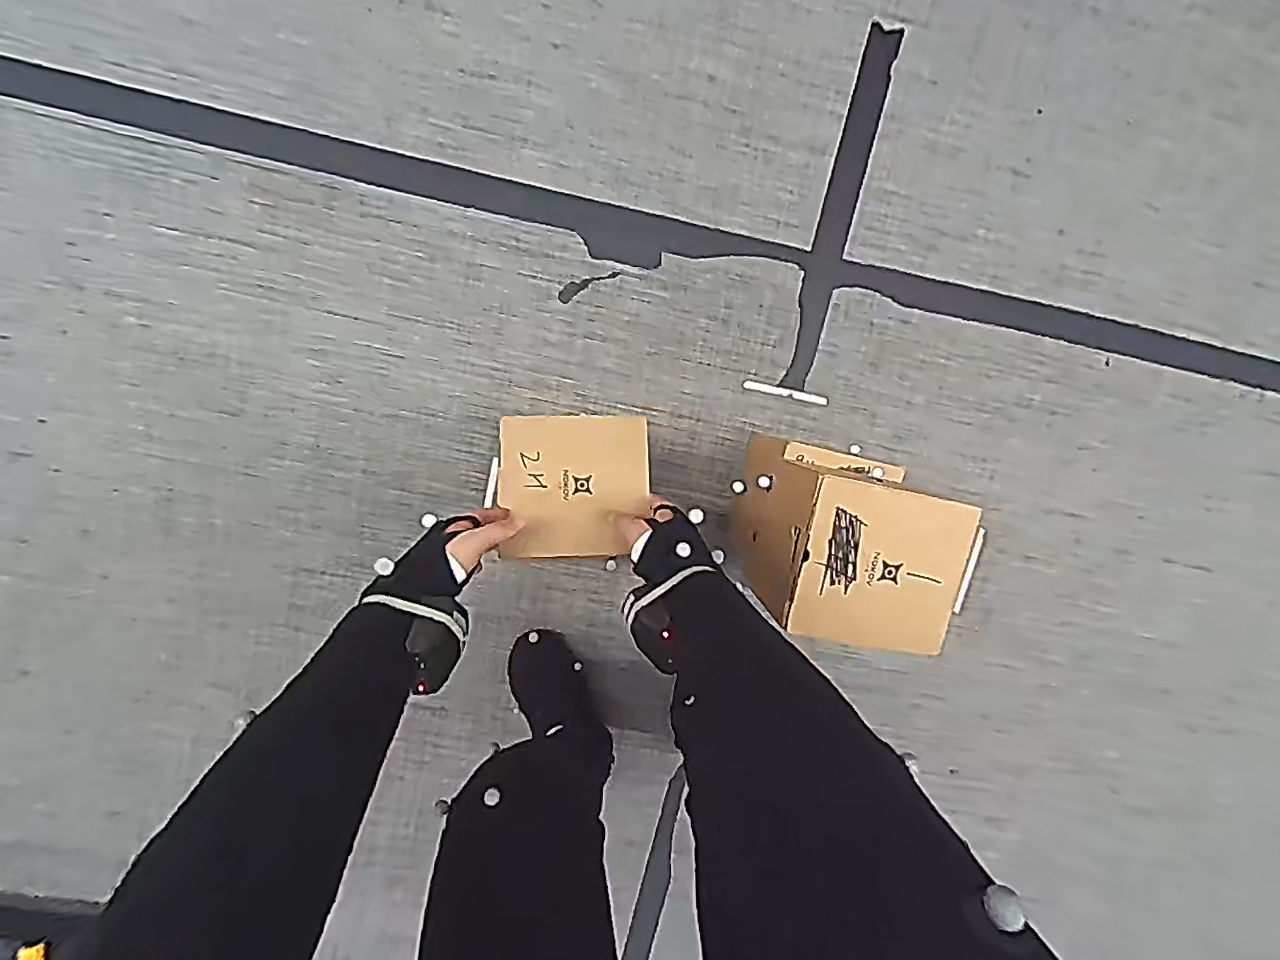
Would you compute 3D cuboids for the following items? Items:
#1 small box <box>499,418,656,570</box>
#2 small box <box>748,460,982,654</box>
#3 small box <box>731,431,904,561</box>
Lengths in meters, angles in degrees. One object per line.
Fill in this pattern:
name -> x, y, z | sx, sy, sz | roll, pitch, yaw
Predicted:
small box -> -0.078, 0.027, 0.695 | 0.179, 0.176, 0.168 | 0, 77, -6
small box -> 0.240, 0.076, 0.627 | 0.179, 0.176, 0.168 | 11, 98, -6
small box -> 0.242, 0.036, 0.789 | 0.168, 0.176, 0.179 | 13, 99, -6
